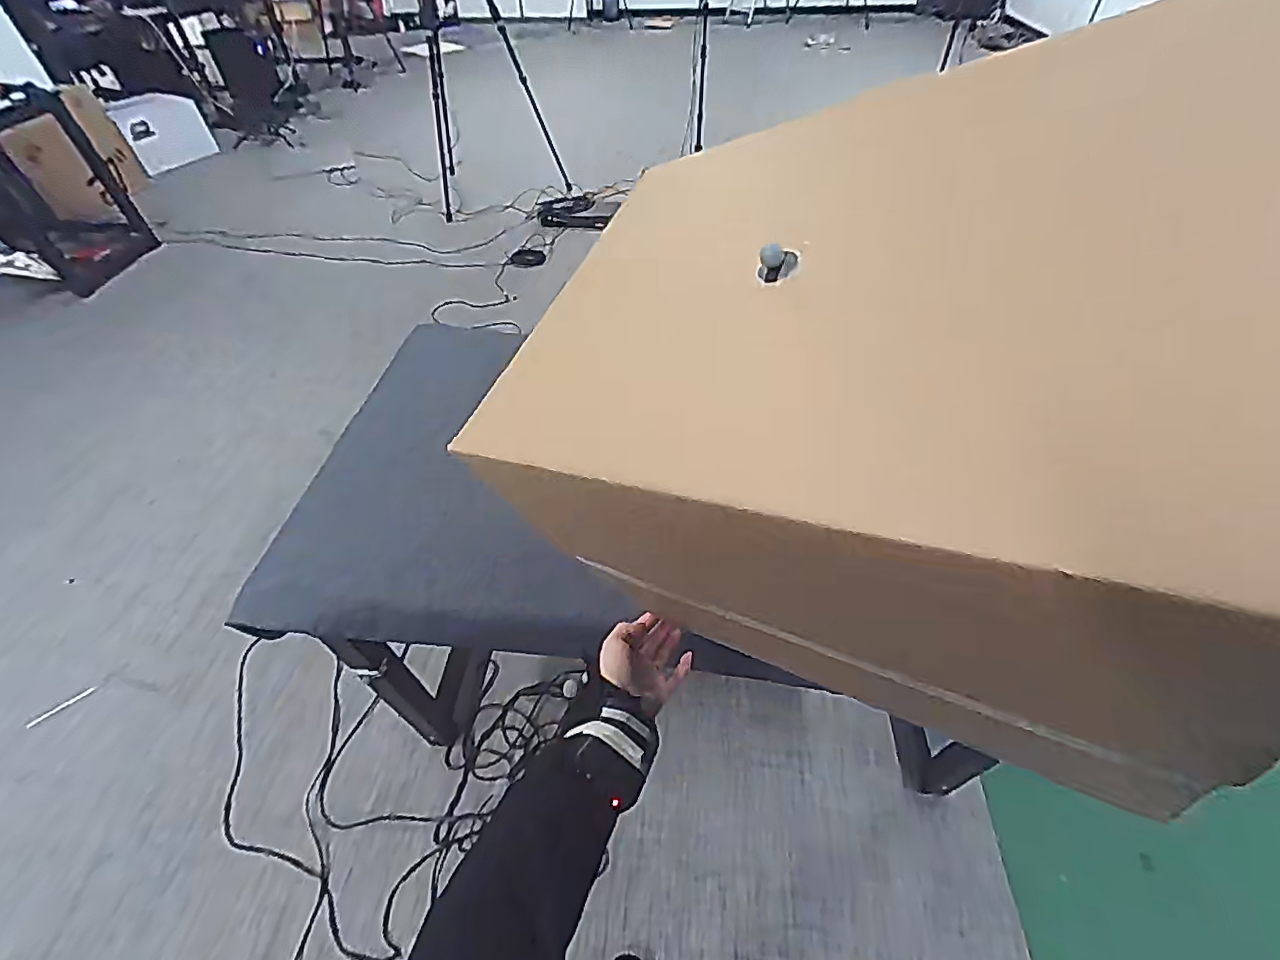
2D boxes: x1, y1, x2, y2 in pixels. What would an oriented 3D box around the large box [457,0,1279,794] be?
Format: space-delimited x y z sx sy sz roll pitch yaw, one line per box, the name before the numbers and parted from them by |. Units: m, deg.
large box | 0.154 -0.030 0.402 0.408 0.320 0.320 9 63 40
